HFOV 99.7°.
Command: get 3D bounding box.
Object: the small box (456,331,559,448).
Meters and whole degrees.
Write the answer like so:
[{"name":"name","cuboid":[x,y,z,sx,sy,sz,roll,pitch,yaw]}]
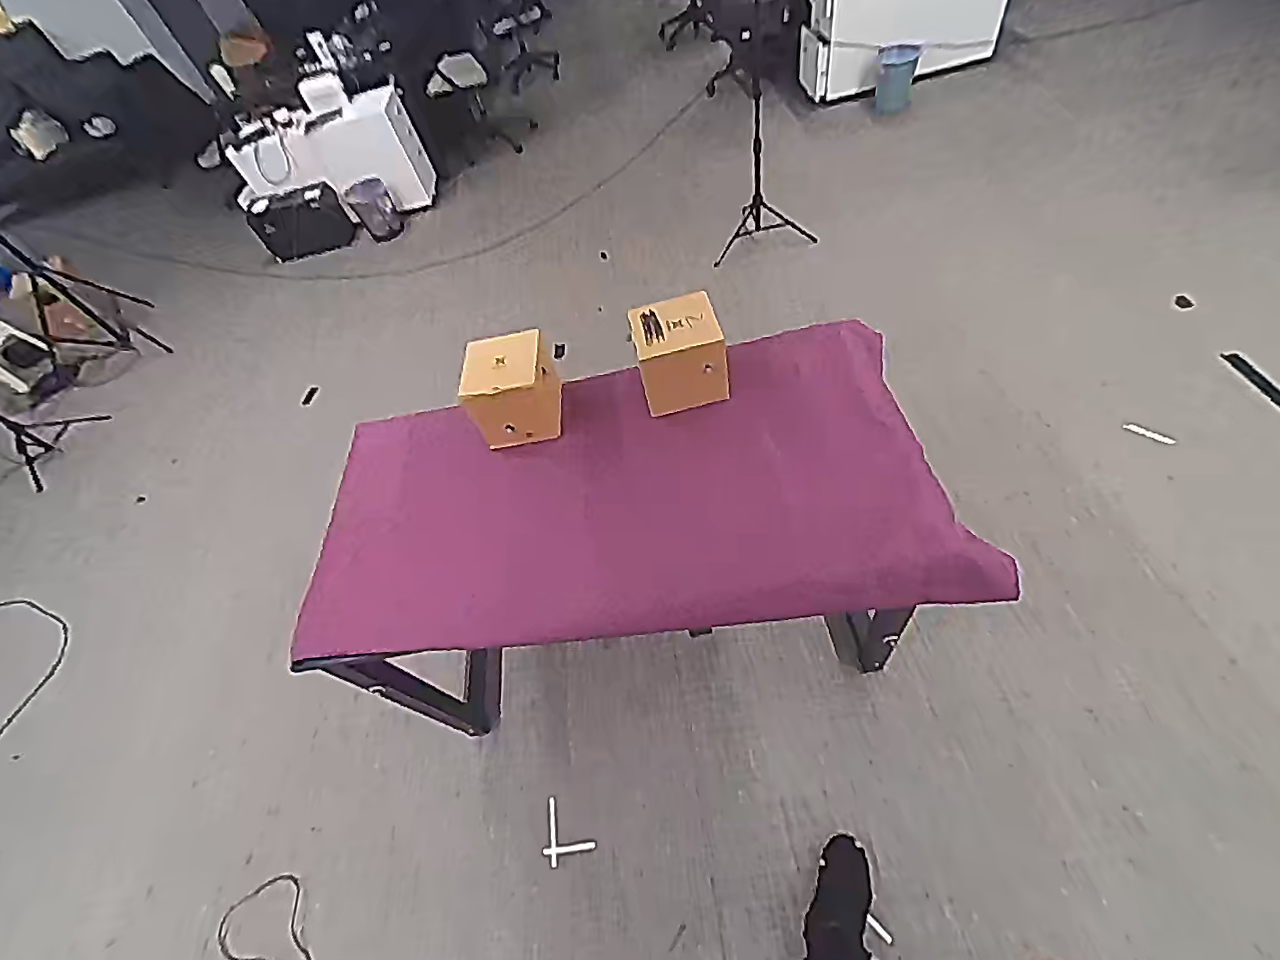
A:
[{"name":"small box","cuboid":[-0.283,-0.198,1.196,0.168,0.176,0.179,-9,54,6]}]
